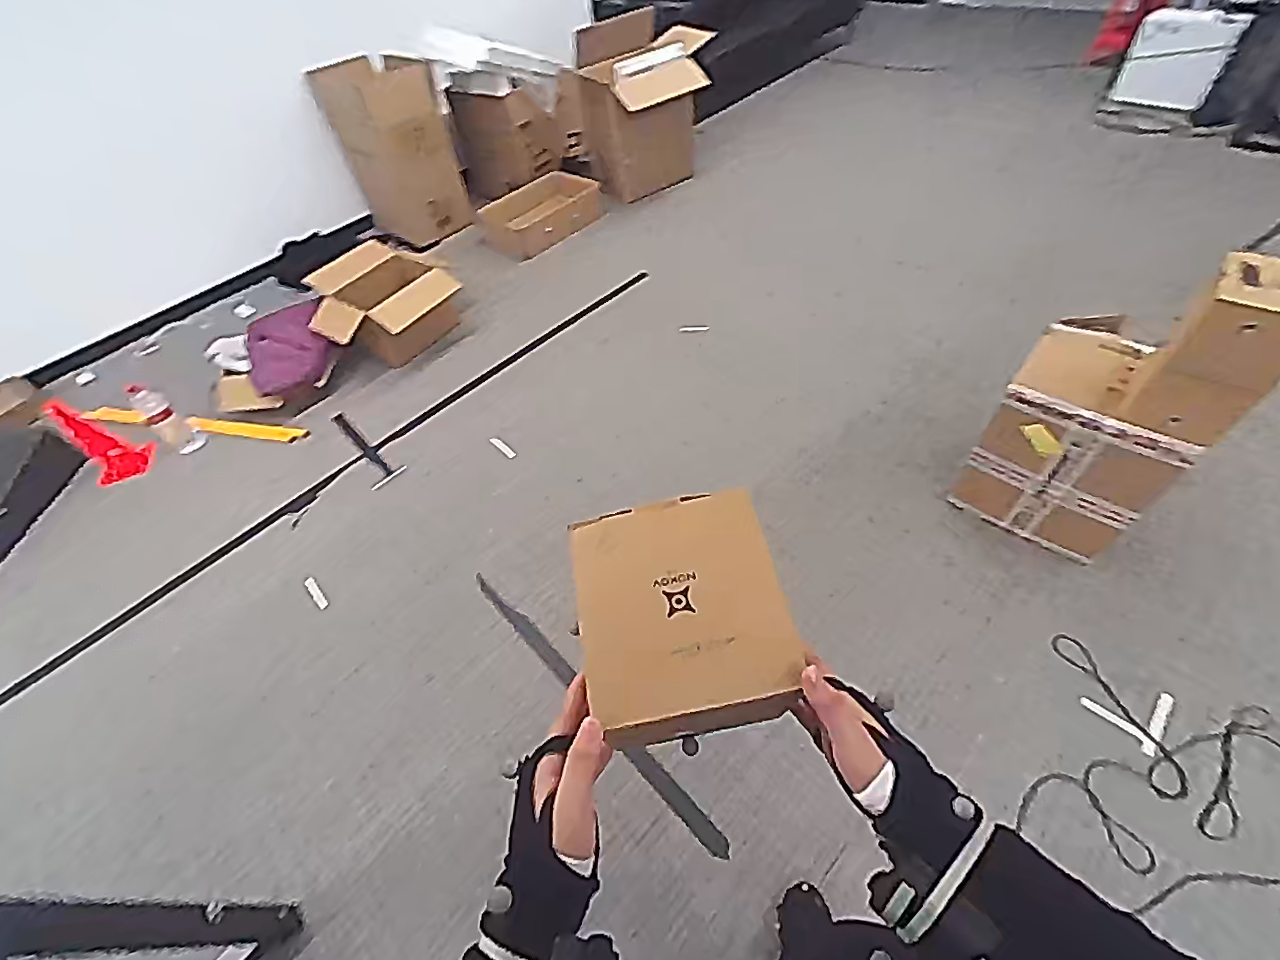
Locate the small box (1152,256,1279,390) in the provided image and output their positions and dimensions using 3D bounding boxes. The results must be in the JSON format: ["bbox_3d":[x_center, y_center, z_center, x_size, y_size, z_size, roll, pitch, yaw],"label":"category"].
[{"bbox_3d":[1.160,-0.302,1.052,0.179,0.176,0.168,27,64,26],"label":"small box"}]

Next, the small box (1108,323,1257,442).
[{"bbox_3d":[1.189,-0.209,1.186,0.179,0.176,0.168,27,64,26],"label":"small box"}]

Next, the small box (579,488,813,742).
[{"bbox_3d":[0.043,0.134,0.514,0.168,0.176,0.179,-11,60,-1],"label":"small box"}]
